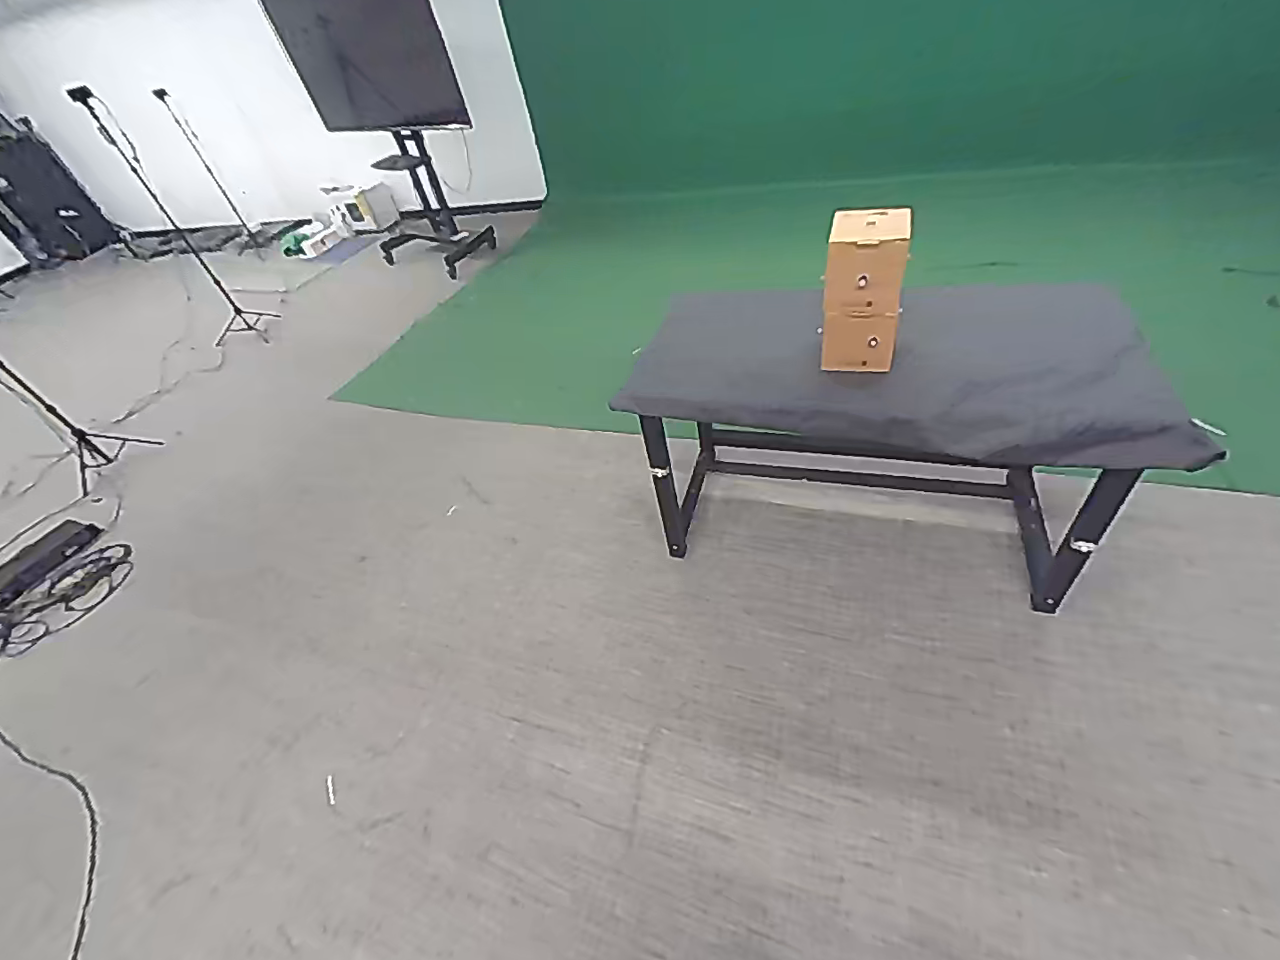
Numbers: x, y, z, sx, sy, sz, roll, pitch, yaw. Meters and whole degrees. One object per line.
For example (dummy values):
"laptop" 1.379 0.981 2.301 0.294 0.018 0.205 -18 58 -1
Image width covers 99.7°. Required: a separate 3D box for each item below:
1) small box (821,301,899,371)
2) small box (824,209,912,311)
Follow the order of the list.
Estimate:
"small box" 0.560 -0.394 1.382 0.168 0.176 0.179 7 46 18
"small box" 0.533 -0.514 1.273 0.168 0.176 0.179 9 49 19
